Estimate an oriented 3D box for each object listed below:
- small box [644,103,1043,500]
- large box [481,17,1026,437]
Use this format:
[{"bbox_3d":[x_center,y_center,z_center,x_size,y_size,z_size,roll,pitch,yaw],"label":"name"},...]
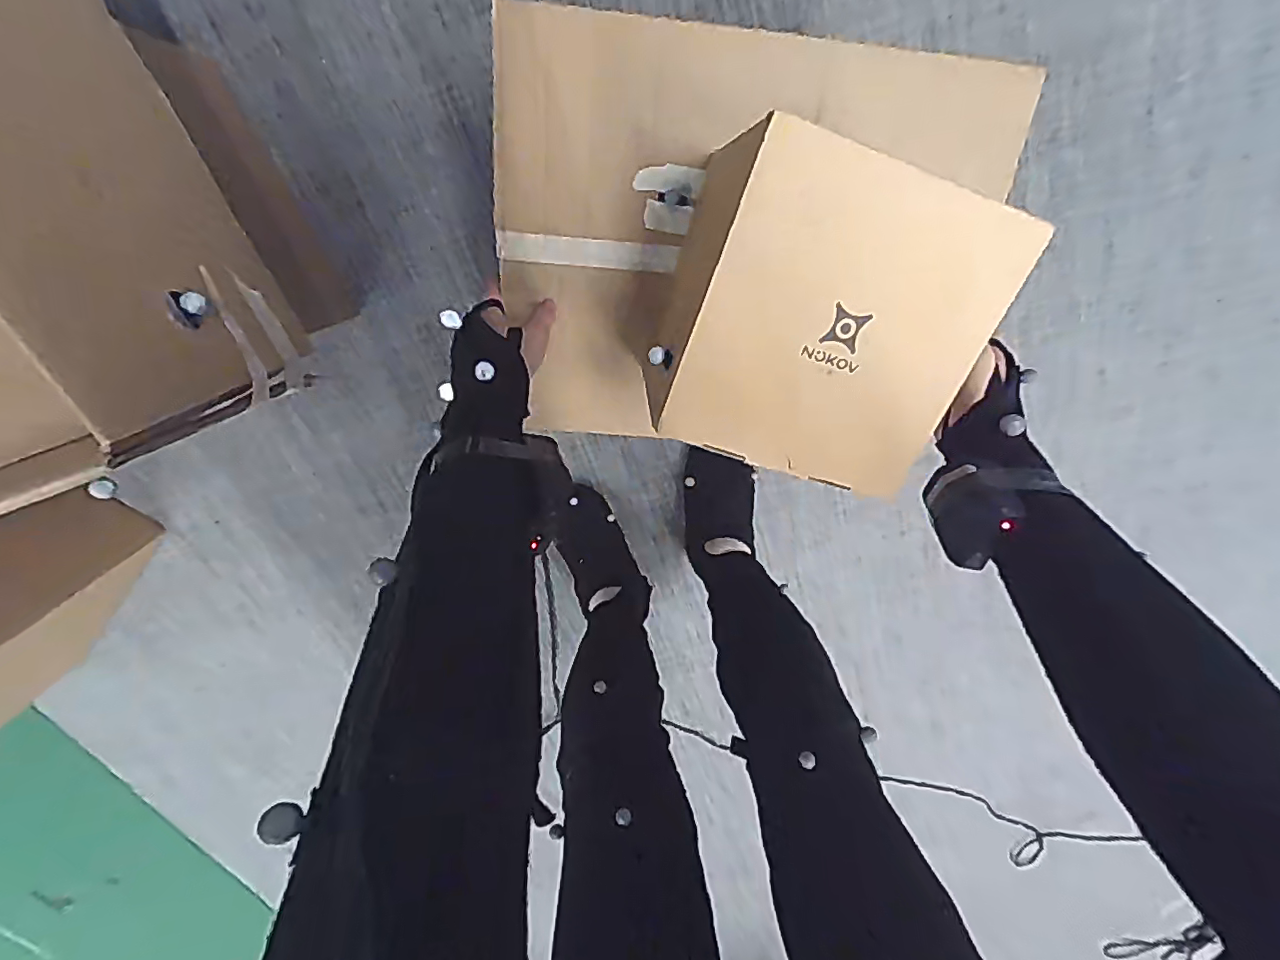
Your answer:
[{"bbox_3d":[0.104,-0.117,0.372,0.168,0.176,0.179,16,115,-10],"label":"small box"},{"bbox_3d":[0.075,-0.240,0.583,0.408,0.320,0.320,4,114,-2],"label":"large box"}]
